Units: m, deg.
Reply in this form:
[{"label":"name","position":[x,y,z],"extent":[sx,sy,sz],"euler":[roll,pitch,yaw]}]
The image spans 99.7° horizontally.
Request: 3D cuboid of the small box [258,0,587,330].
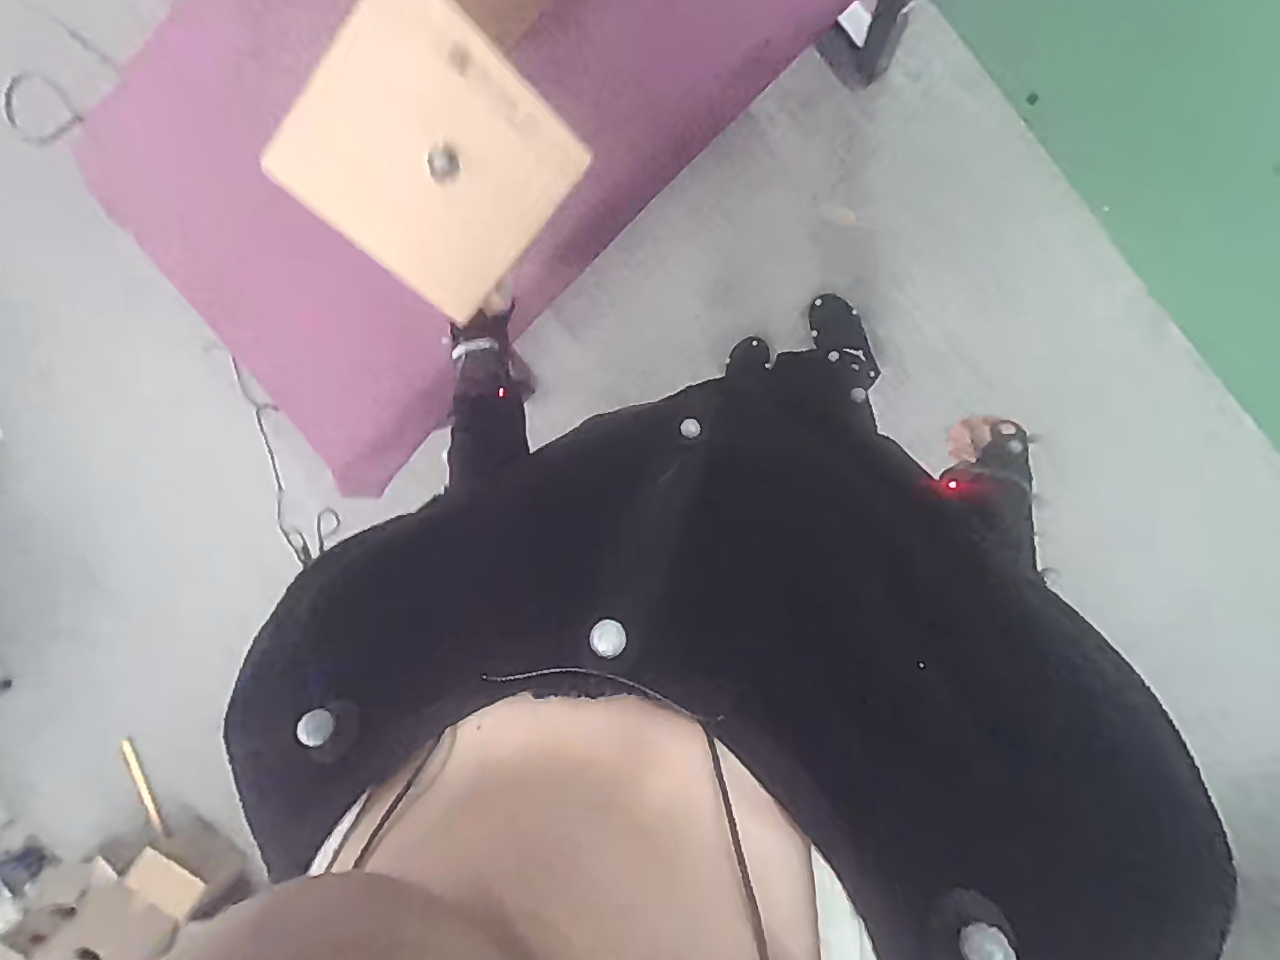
[{"label":"small box","position":[-0.164,-0.259,0.454],"extent":[0.176,0.179,0.168],"euler":[-45,119,11]}]
